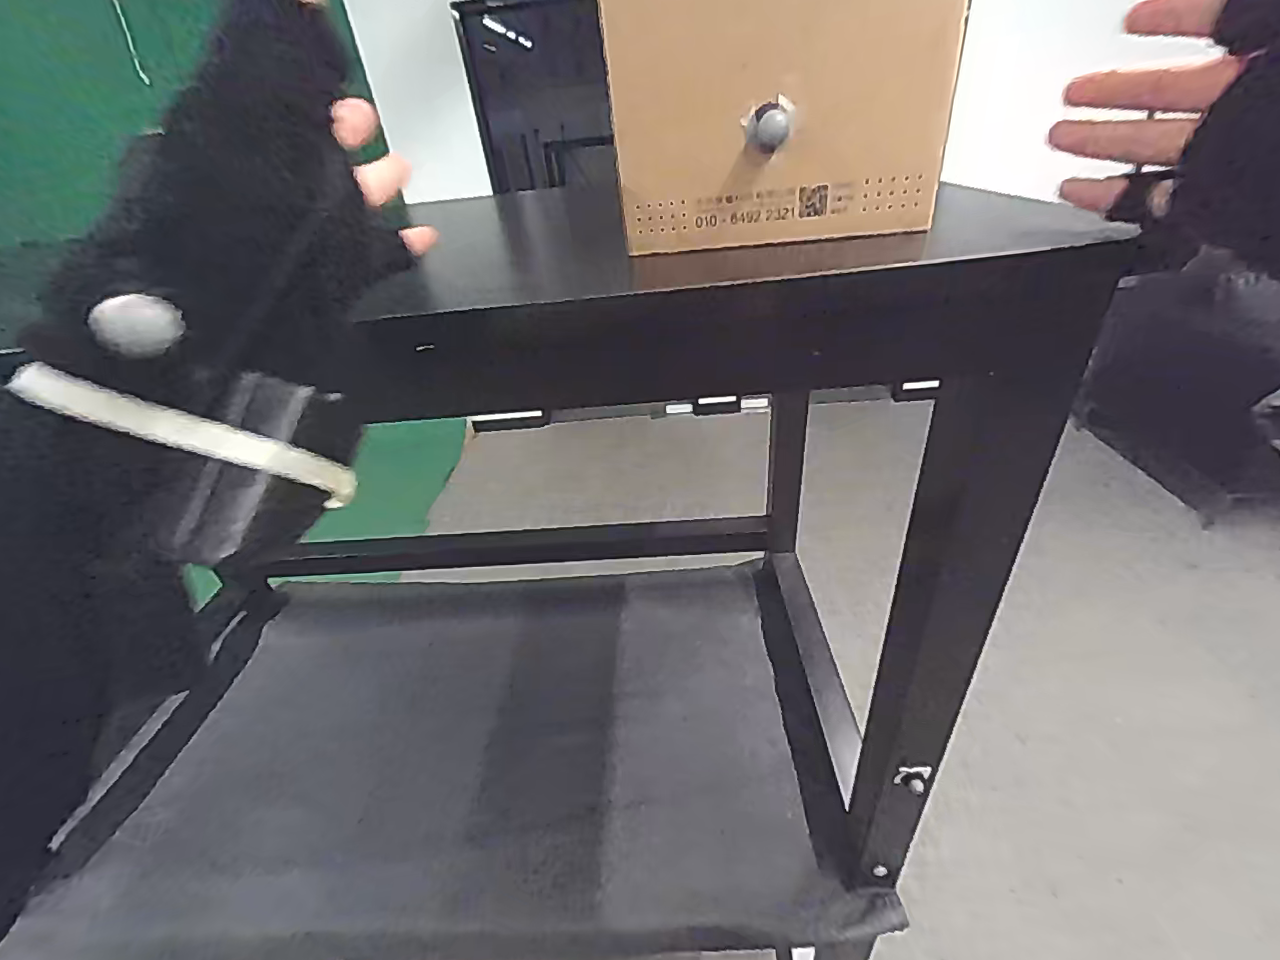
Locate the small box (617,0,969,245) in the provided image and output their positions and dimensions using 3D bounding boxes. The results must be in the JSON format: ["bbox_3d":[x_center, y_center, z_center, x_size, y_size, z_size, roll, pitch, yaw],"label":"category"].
[{"bbox_3d":[0.083,-0.248,0.330,0.168,0.176,0.179,0,33,11],"label":"small box"}]
